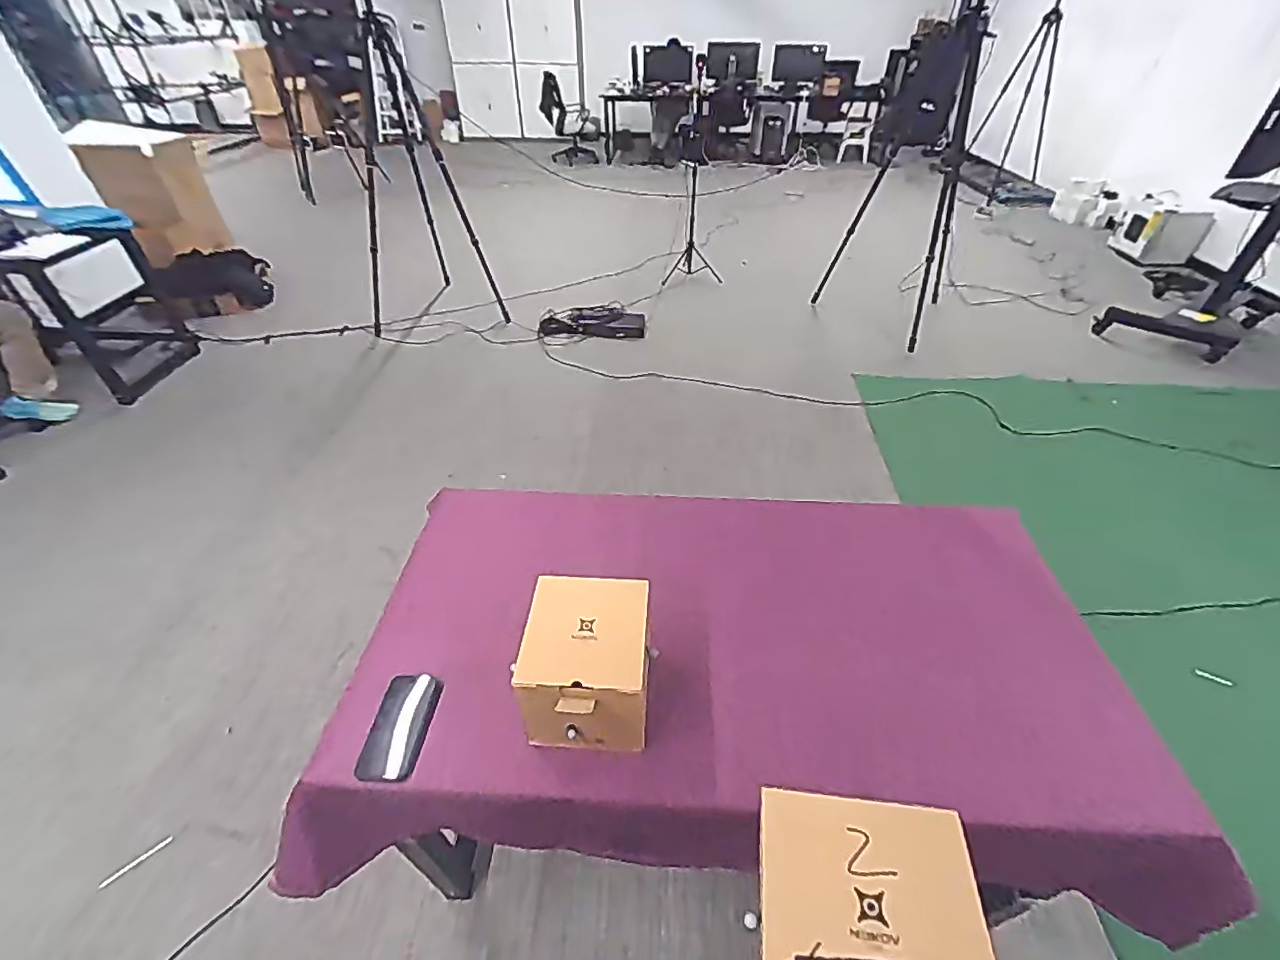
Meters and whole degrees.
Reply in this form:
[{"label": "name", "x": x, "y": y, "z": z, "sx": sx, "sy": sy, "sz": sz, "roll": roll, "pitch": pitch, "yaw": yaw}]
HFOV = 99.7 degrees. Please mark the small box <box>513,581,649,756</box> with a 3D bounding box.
[{"label": "small box", "x": -0.076, "y": 0.272, "z": 0.789, "sx": 0.168, "sy": 0.176, "sz": 0.179, "roll": 3, "pitch": 41, "yaw": 3}]
